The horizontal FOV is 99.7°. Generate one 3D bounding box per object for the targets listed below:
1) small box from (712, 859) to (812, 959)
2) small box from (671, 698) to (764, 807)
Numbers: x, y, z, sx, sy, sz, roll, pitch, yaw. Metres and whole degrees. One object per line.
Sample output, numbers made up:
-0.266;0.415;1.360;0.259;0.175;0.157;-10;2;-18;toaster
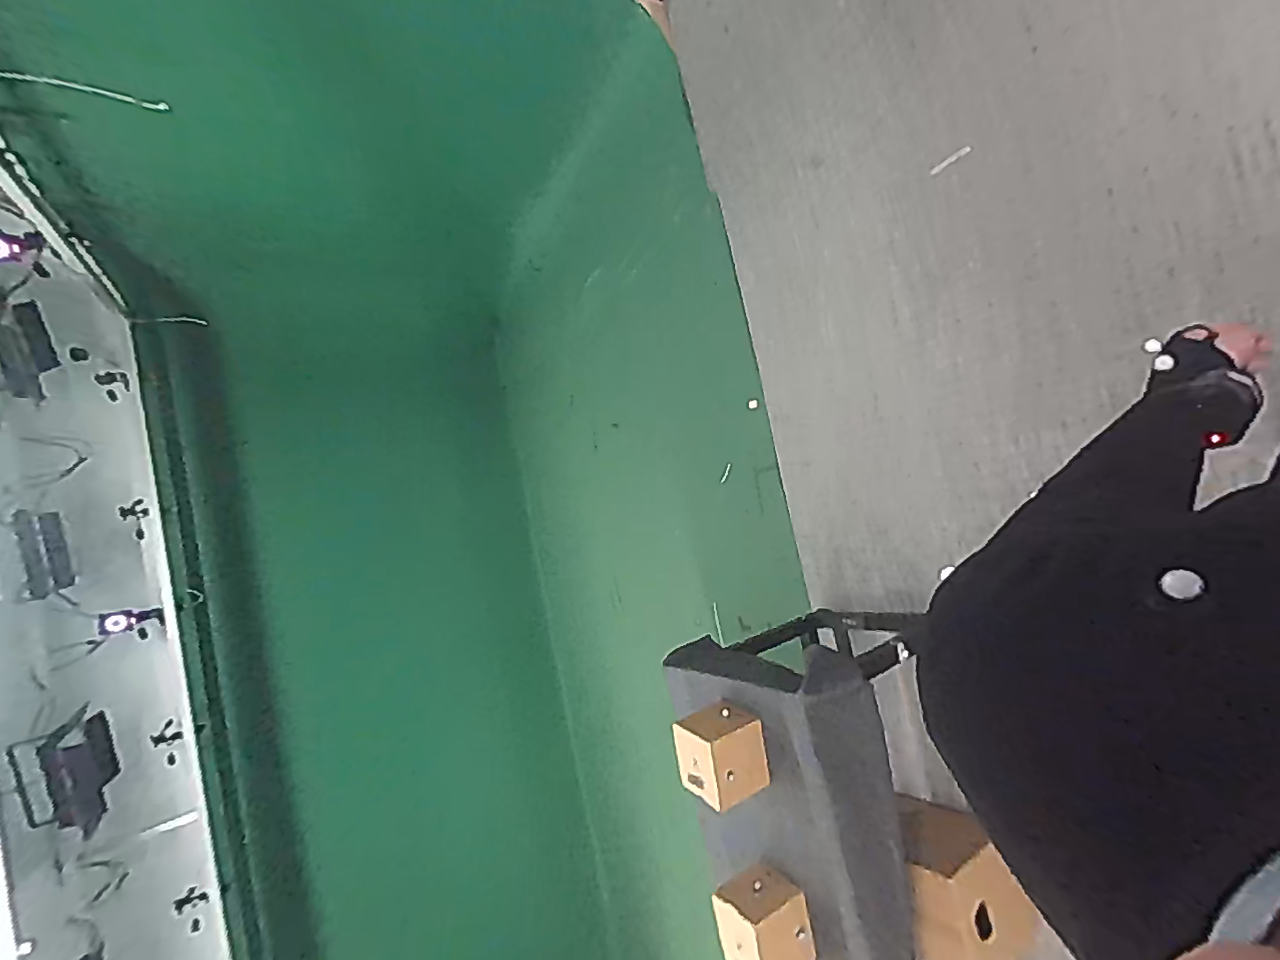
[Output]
0.312;1.124;1.382;0.168;0.176;0.179;-15;85;60;small box
0.207;0.707;1.423;0.168;0.176;0.179;-7;93;59;small box
